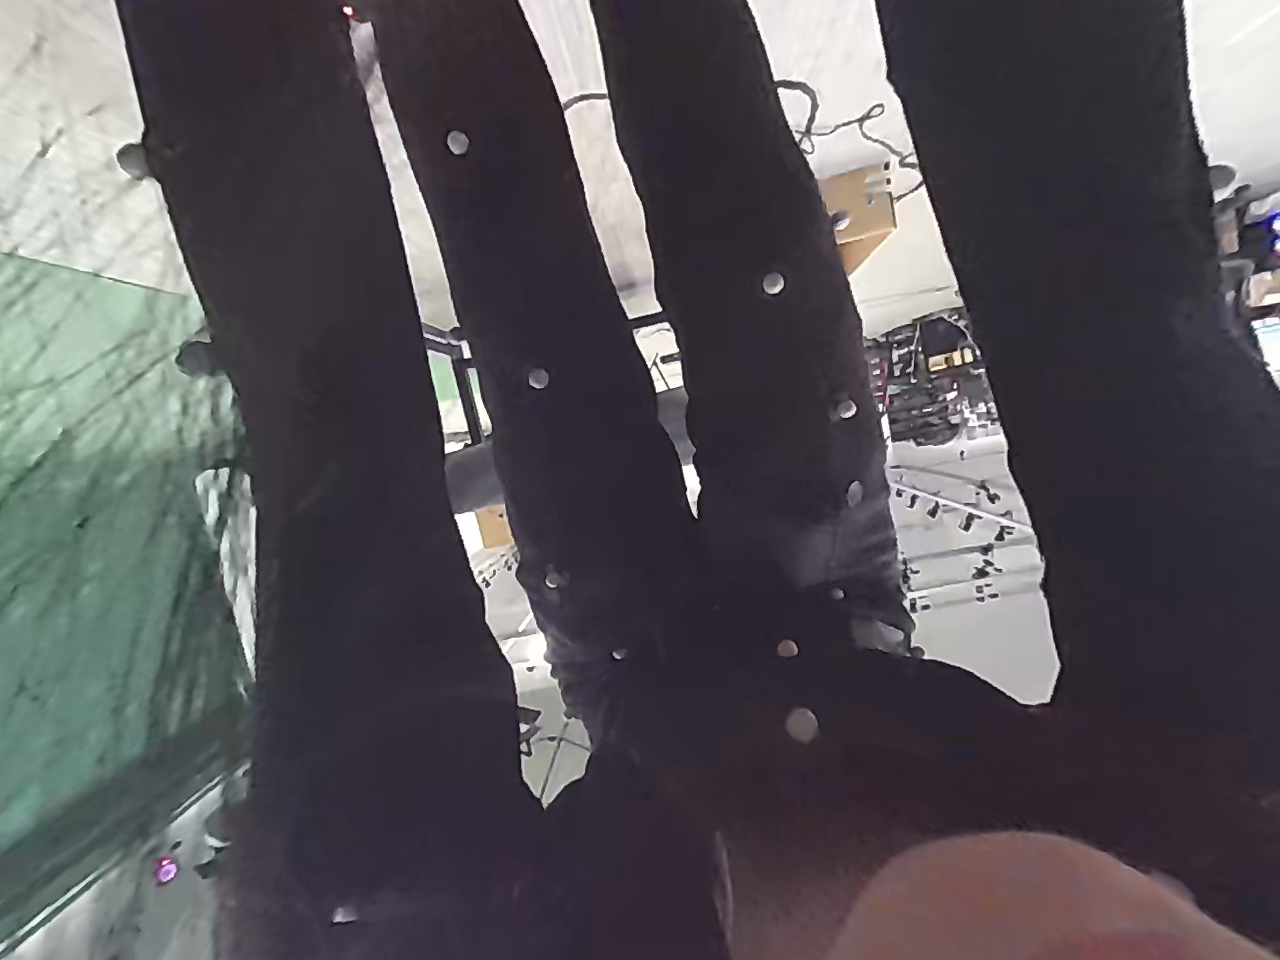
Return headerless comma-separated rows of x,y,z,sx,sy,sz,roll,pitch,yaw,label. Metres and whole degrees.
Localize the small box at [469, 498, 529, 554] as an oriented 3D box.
-0.542,0.170,2.096,0.168,0.176,0.179,-13,-175,2,small box
